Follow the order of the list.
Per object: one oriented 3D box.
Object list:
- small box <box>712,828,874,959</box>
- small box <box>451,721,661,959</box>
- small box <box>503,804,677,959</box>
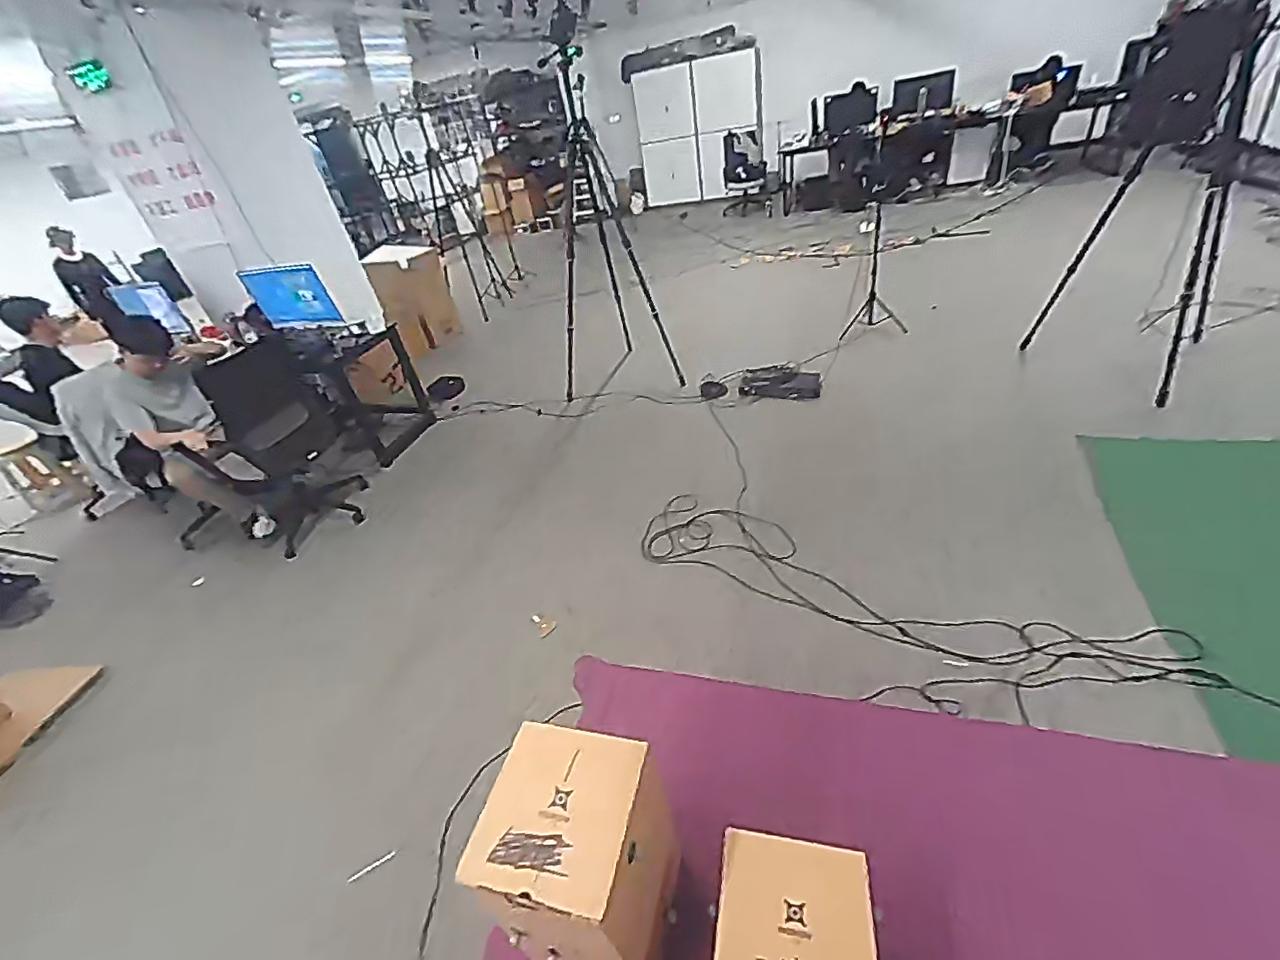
[{"bbox_3d":[0.172,0.553,0.629,0.168,0.176,0.179,2,31,14],"label":"small box"},{"bbox_3d":[-0.080,0.418,0.631,0.168,0.176,0.179,2,37,18],"label":"small box"},{"bbox_3d":[-0.052,0.549,0.726,0.168,0.176,0.179,0,36,19],"label":"small box"}]
